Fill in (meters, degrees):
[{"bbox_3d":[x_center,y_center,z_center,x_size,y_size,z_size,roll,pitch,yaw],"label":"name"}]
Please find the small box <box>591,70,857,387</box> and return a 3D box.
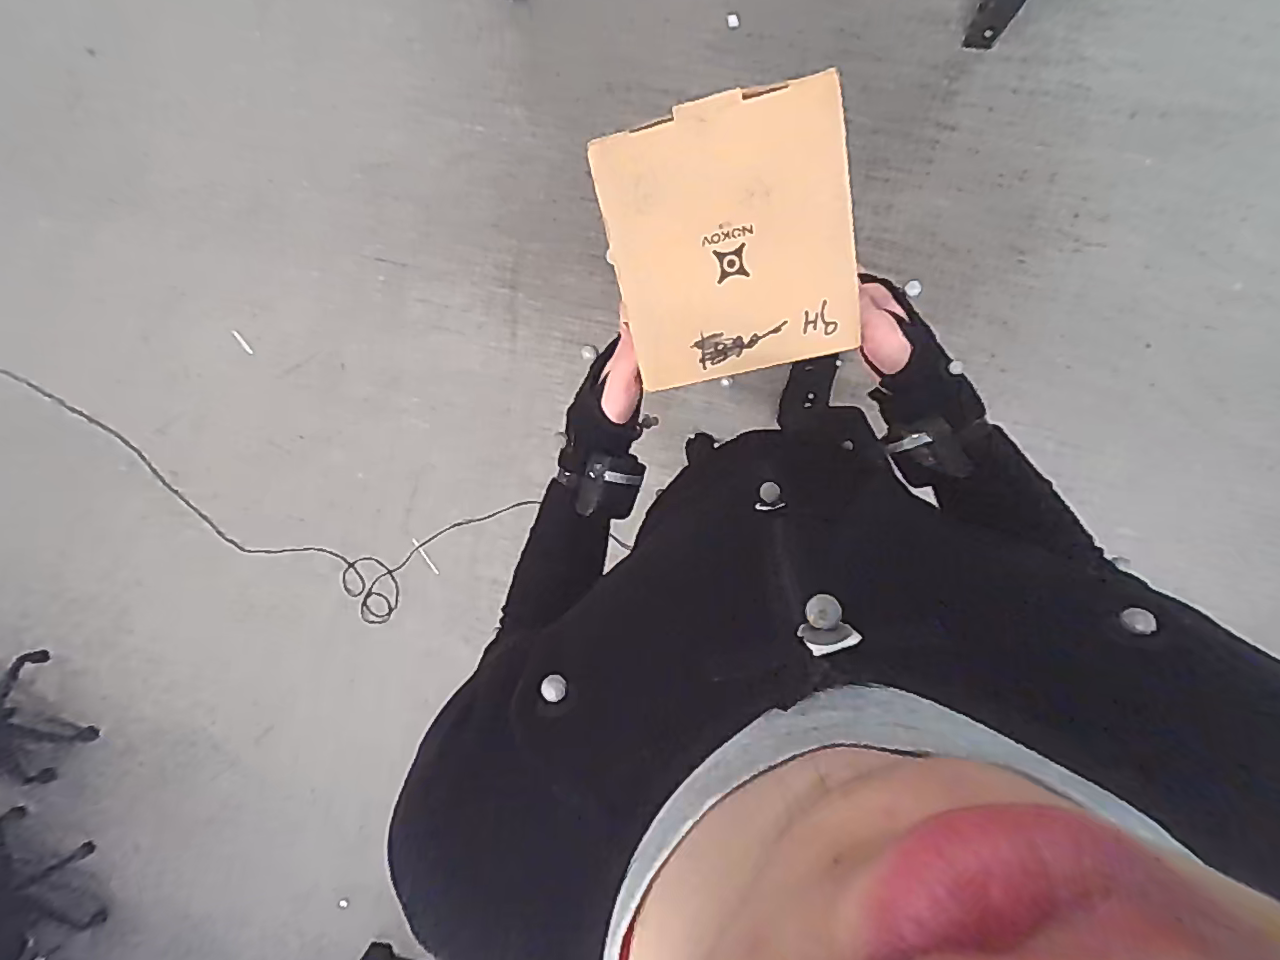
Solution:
[{"bbox_3d":[0.069,-0.195,0.451,0.168,0.176,0.179,-10,113,10],"label":"small box"}]
